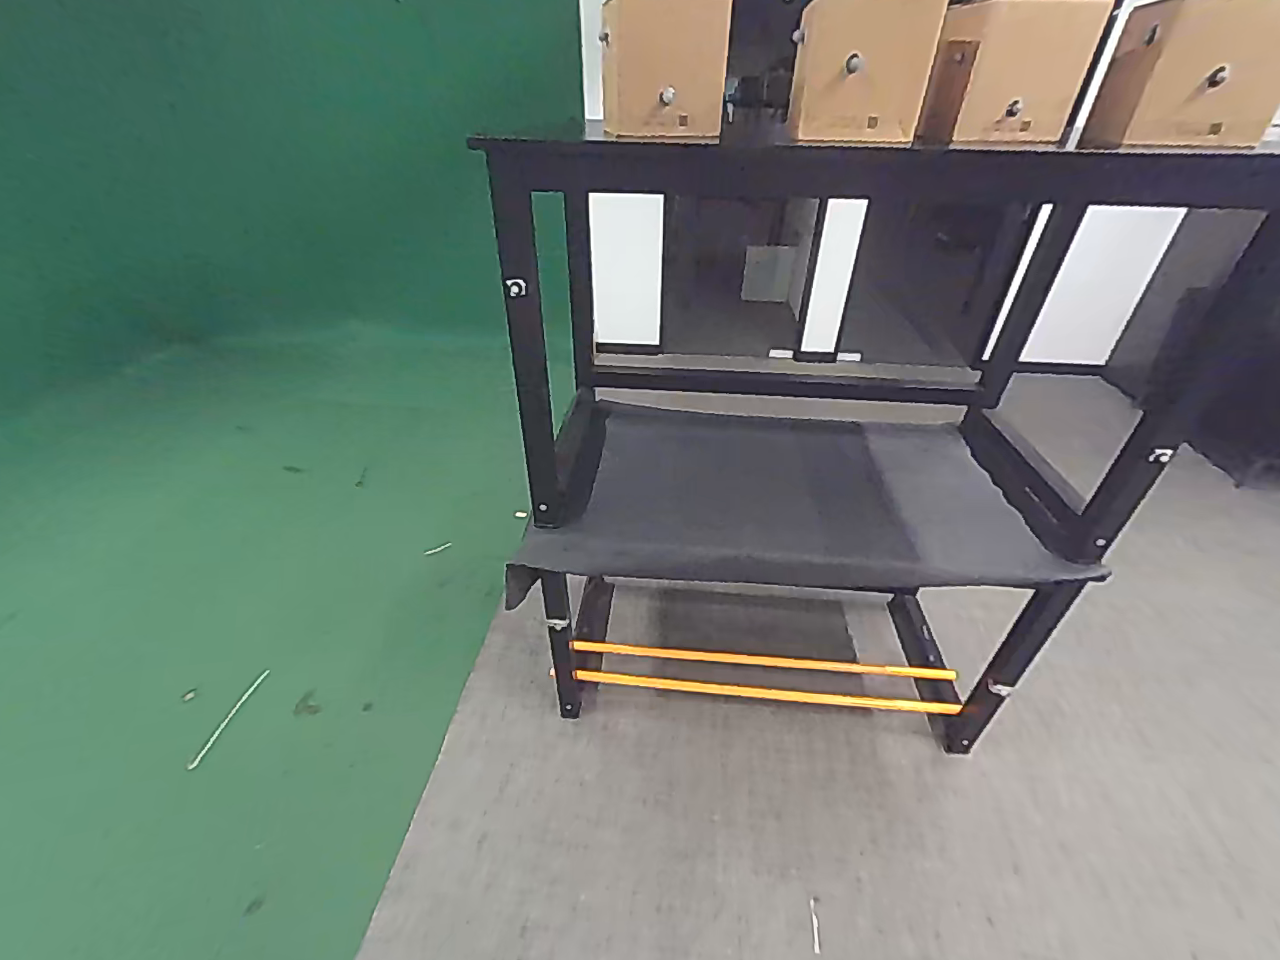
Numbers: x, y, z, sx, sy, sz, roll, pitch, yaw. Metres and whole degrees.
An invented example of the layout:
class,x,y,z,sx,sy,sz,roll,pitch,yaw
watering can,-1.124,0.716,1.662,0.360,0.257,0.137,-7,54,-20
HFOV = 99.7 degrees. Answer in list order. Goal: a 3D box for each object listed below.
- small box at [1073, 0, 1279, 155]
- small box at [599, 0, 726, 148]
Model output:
class,x,y,z,sx,sy,sz,roll,pitch,yaw
small box,0.786,-0.580,0.791,0.168,0.176,0.179,10,36,13
small box,0.024,-0.636,0.857,0.168,0.176,0.179,-5,37,-9
